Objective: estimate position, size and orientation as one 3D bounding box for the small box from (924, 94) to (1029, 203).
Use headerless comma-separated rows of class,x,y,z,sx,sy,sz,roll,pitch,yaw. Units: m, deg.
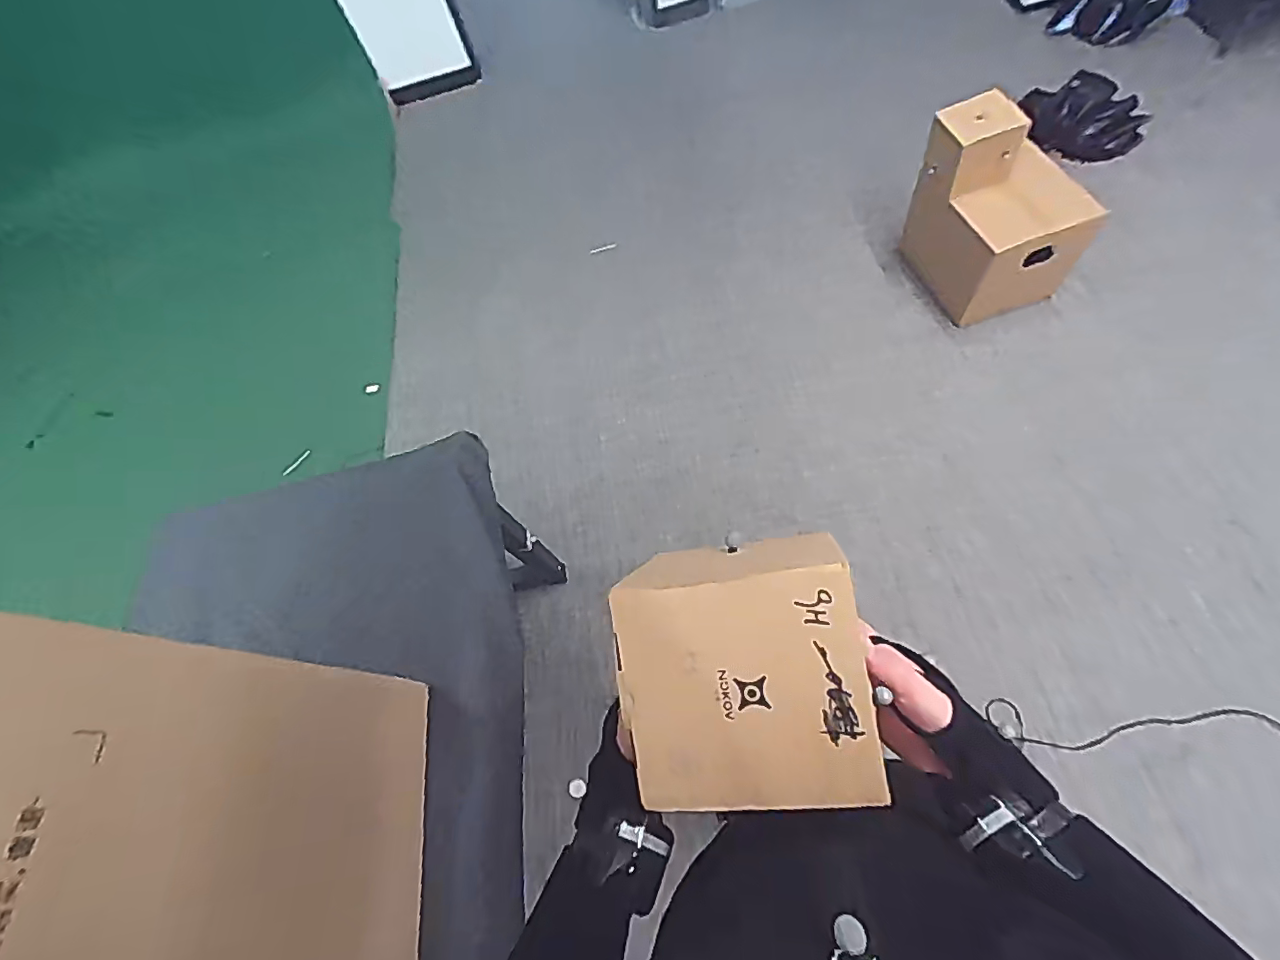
small box,0.932,-0.924,1.517,0.179,0.176,0.168,-19,62,7
